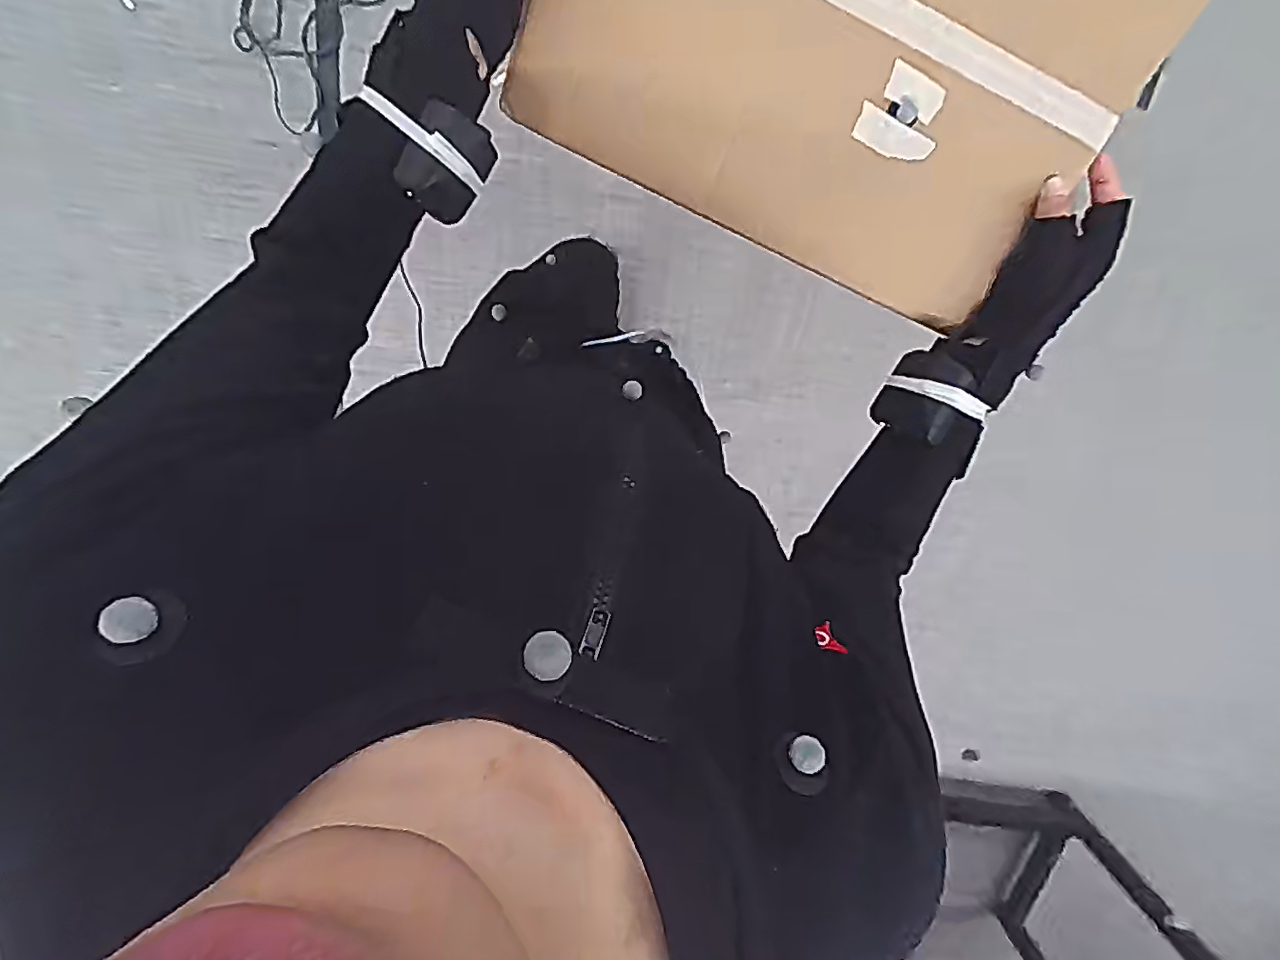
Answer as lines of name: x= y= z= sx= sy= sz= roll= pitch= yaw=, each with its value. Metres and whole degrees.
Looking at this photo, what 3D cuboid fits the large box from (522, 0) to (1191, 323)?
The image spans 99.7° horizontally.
large box: x=0.156 y=-0.397 z=0.496 sx=0.408 sy=0.320 sz=0.320 roll=23 pitch=119 yaw=-8
